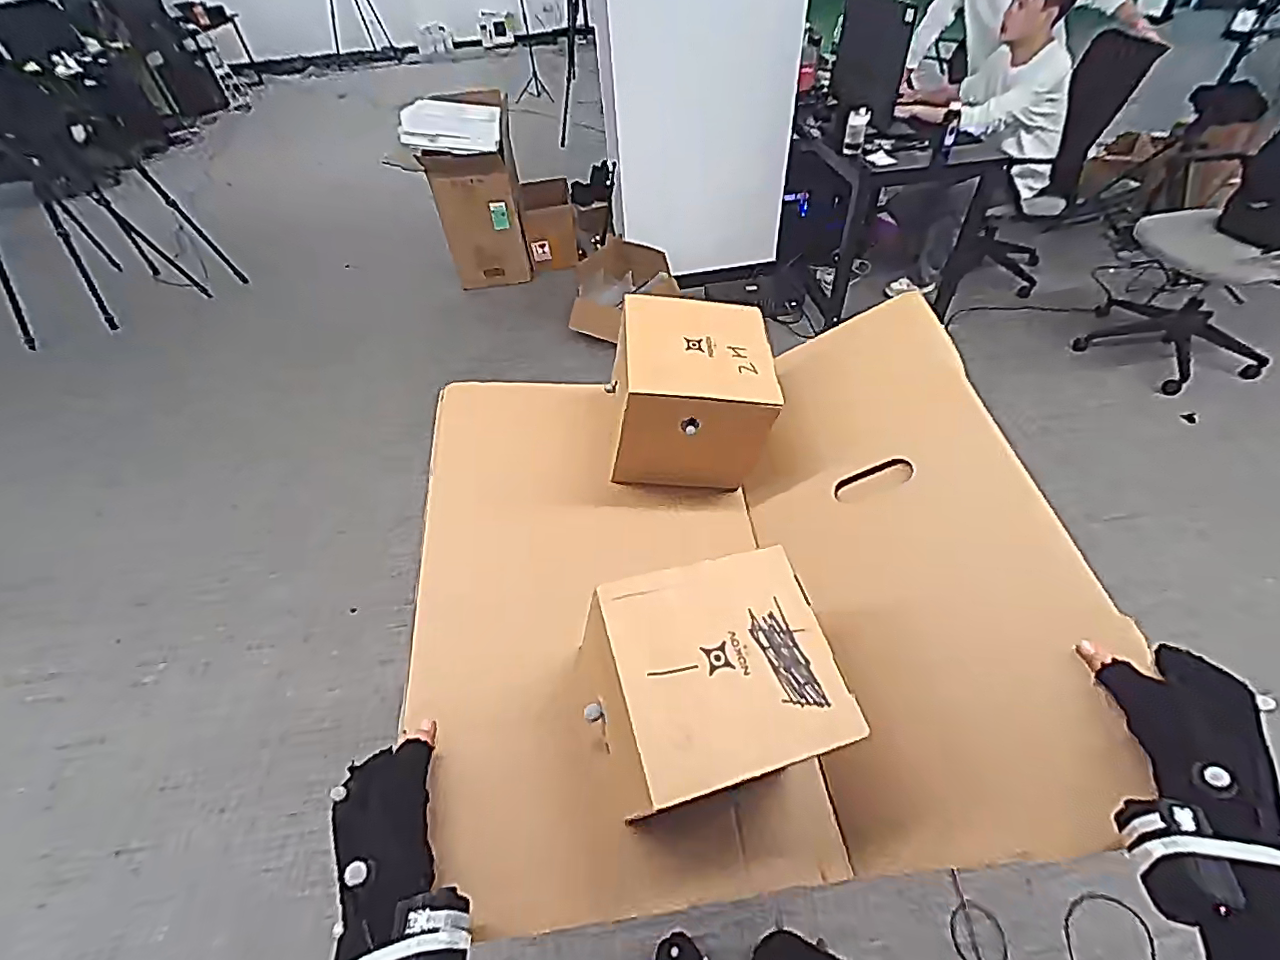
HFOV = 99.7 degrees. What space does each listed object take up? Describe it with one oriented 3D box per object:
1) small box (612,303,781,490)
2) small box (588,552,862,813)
[{"bbox_3d":[0.058,-0.100,0.697,0.179,0.176,0.168,4,55,-9],"label":"small box"},{"bbox_3d":[0.057,0.187,0.497,0.179,0.176,0.168,-9,58,-16],"label":"small box"}]
